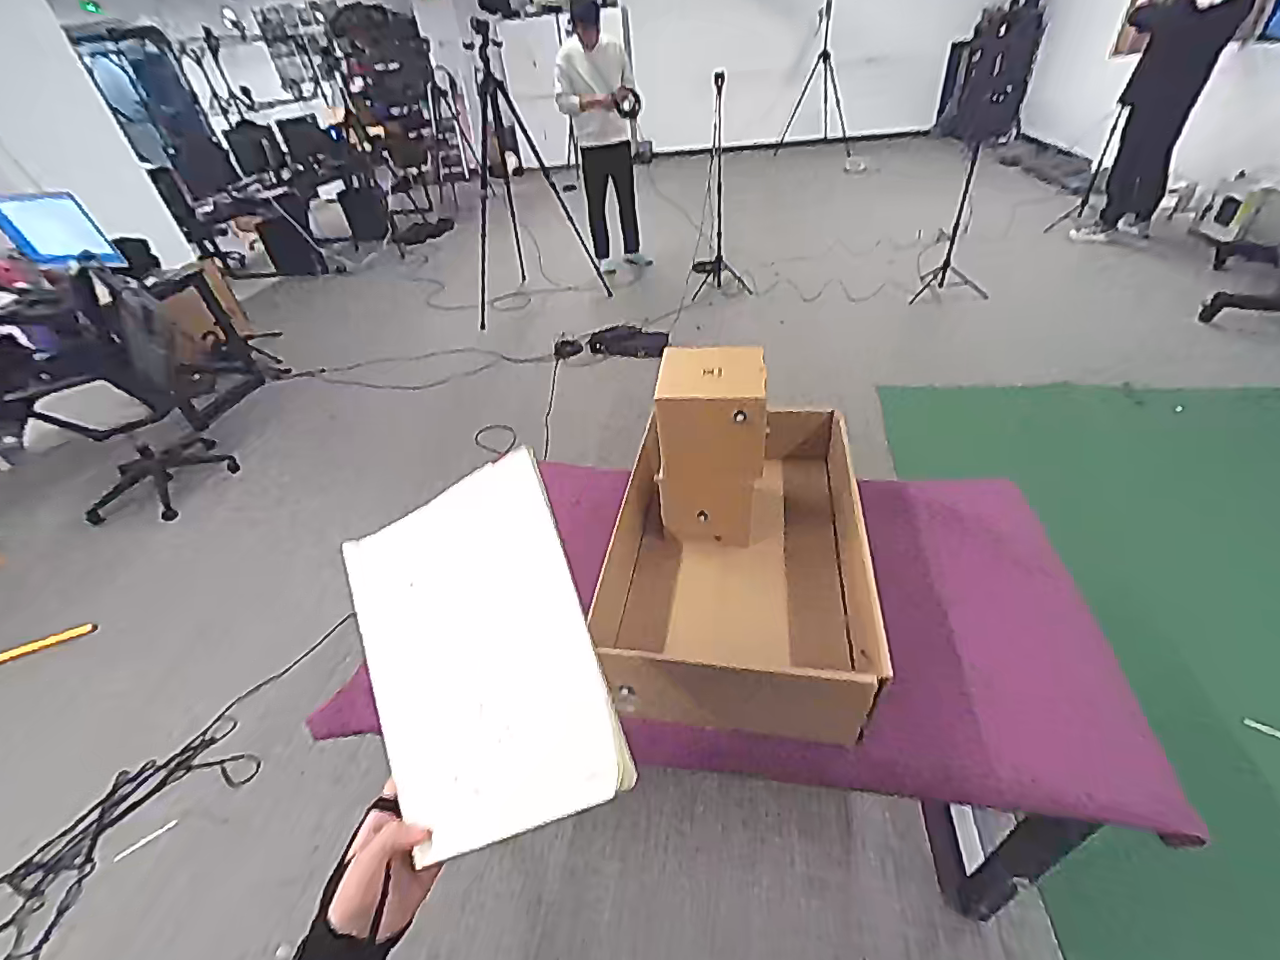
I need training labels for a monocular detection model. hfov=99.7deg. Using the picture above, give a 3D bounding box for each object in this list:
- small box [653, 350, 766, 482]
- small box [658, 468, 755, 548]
[{"bbox_3d":[0.125,-0.109,0.936,0.179,0.176,0.168,1,41,10],"label":"small box"},{"bbox_3d":[0.135,0.012,1.043,0.168,0.176,0.179,3,41,12],"label":"small box"}]
